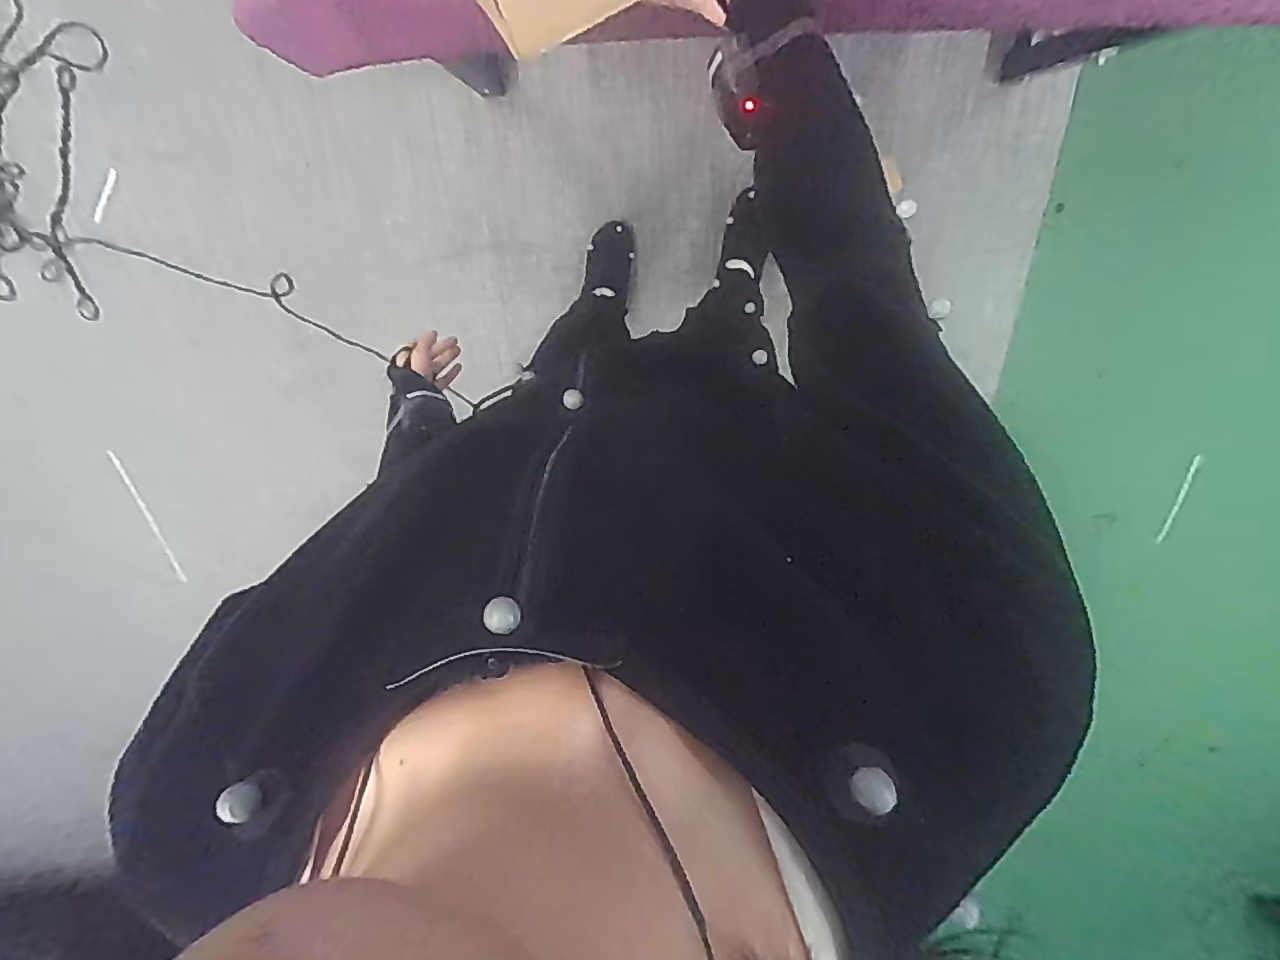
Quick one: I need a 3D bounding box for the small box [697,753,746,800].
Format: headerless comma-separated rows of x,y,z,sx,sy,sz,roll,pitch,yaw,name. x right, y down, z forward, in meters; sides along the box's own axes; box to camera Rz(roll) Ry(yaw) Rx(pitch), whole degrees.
0.318,1.190,2.142,0.168,0.176,0.179,-2,118,0,small box

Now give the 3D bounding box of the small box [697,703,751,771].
0.306,0.956,2.017,0.168,0.176,0.179,2,118,-2,small box

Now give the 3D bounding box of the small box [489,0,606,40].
-0.072,-0.481,0.401,0.179,0.176,0.168,-26,149,0,small box

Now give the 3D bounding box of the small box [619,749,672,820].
0.020,1.202,2.136,0.168,0.176,0.179,13,117,-8,small box
